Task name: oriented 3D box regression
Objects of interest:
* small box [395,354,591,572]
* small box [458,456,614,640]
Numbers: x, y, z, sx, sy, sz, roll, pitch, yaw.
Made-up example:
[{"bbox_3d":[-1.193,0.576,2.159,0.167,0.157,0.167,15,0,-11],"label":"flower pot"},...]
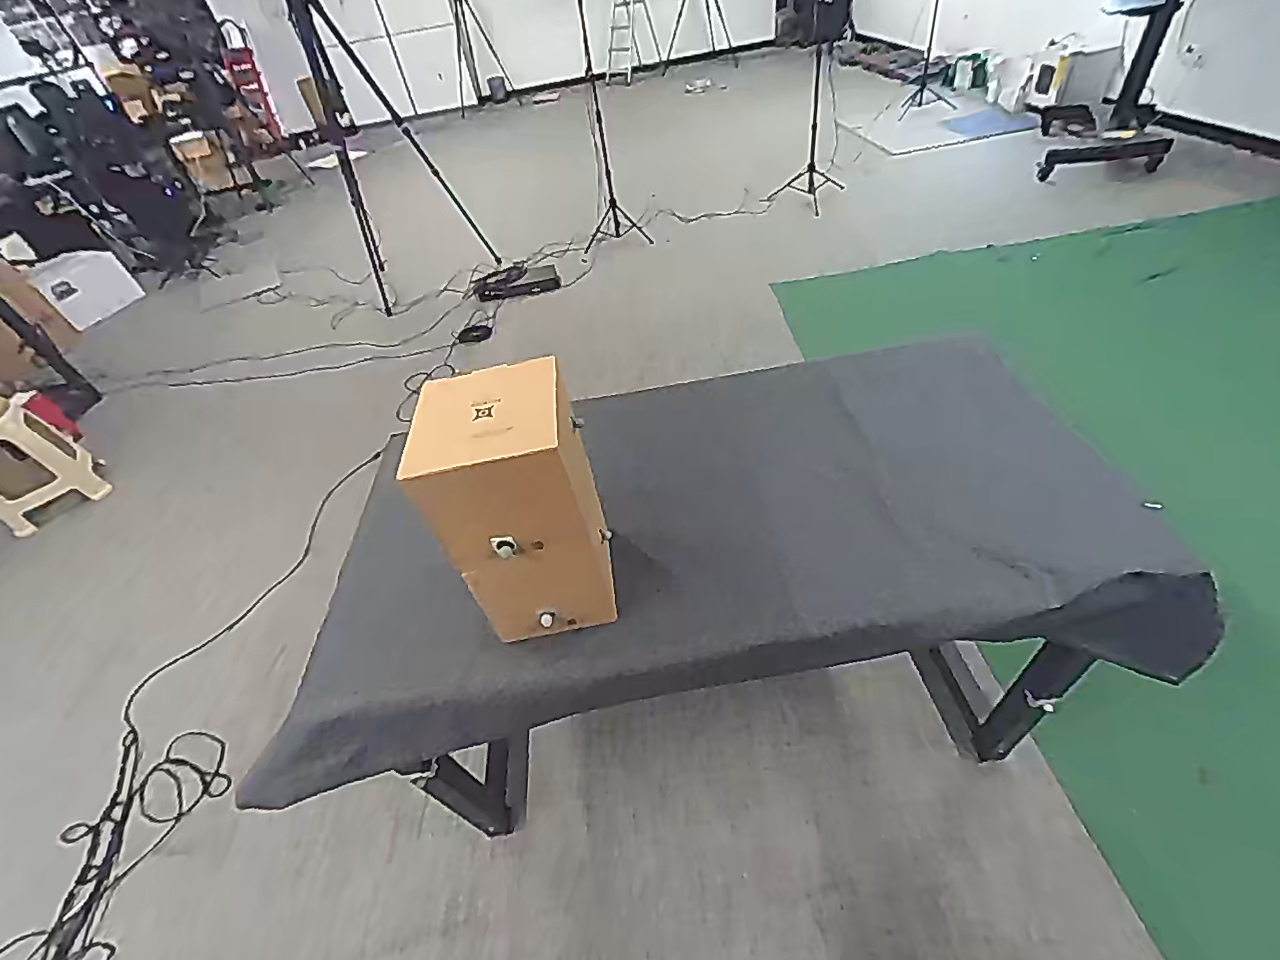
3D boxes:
[{"bbox_3d":[-0.159,-0.020,0.639,0.168,0.176,0.179,-12,45,1],"label":"small box"},{"bbox_3d":[-0.136,0.094,0.753,0.168,0.176,0.179,-11,45,0],"label":"small box"}]
